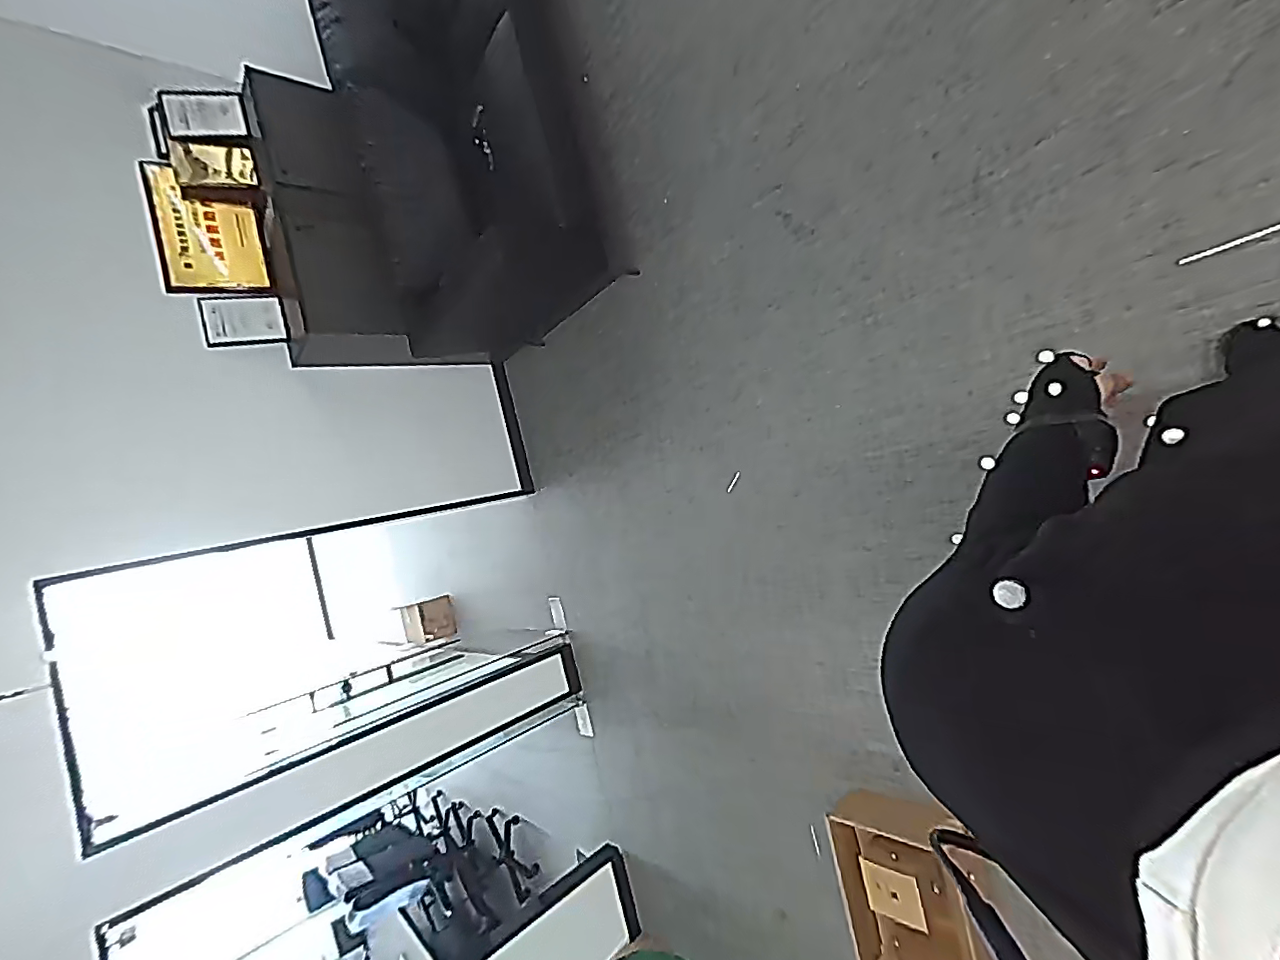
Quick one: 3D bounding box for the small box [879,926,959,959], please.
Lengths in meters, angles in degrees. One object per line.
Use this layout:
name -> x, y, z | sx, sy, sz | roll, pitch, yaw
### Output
small box -> 0.867, 1.509, 1.653 | 0.179, 0.176, 0.168 | -15, 86, 49

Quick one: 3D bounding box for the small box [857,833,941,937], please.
small box -> 0.802, 1.231, 1.664 | 0.179, 0.176, 0.168 | -13, 89, 49
